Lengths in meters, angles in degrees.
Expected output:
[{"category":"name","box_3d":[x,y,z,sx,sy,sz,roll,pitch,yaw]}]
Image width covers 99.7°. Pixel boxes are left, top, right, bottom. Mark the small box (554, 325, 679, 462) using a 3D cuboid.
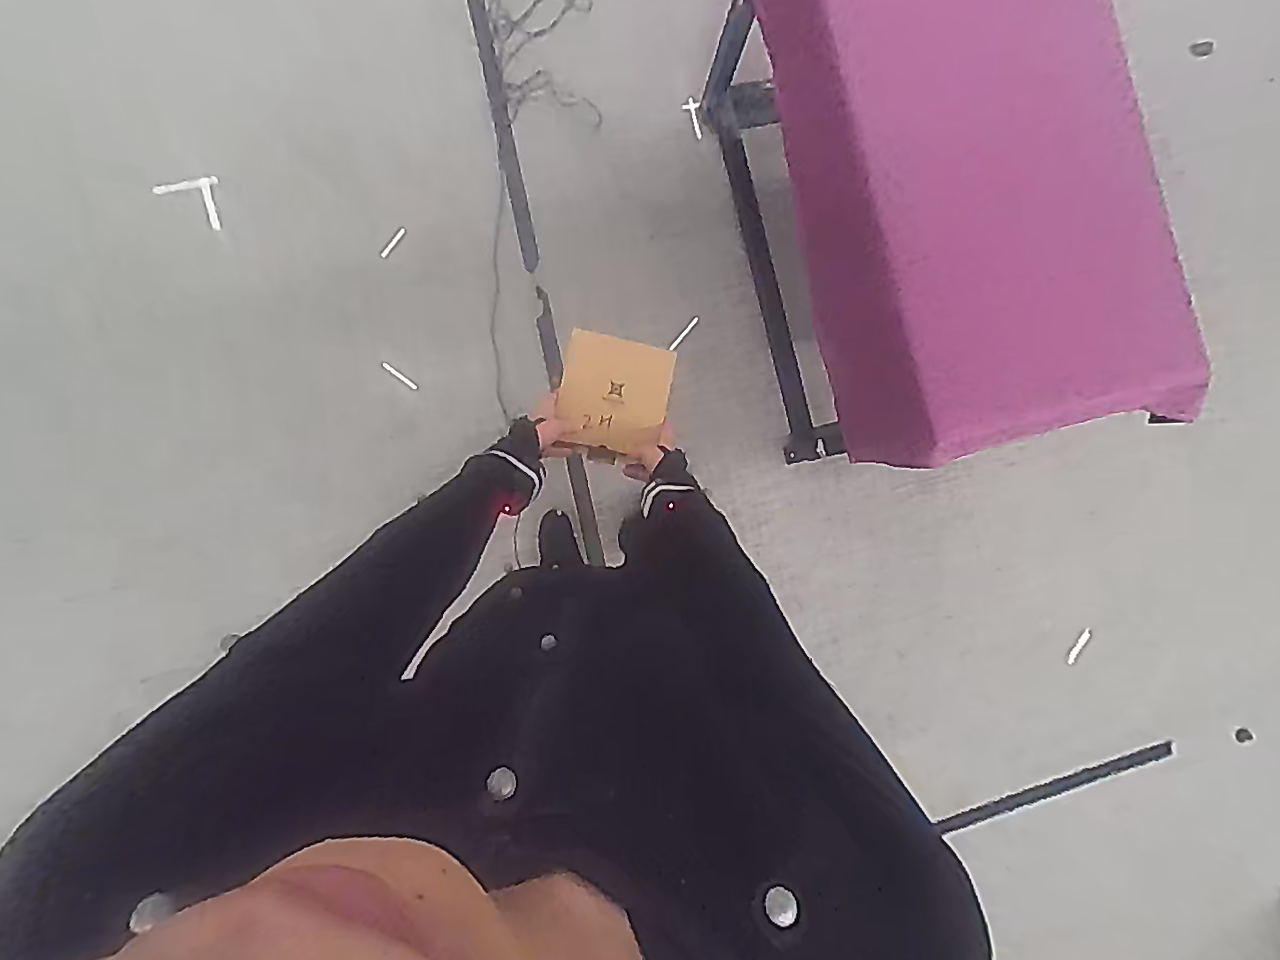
[{"category":"small box","box_3d":[-0.043,-0.133,0.905,0.168,0.176,0.179,12,88,-5]}]
